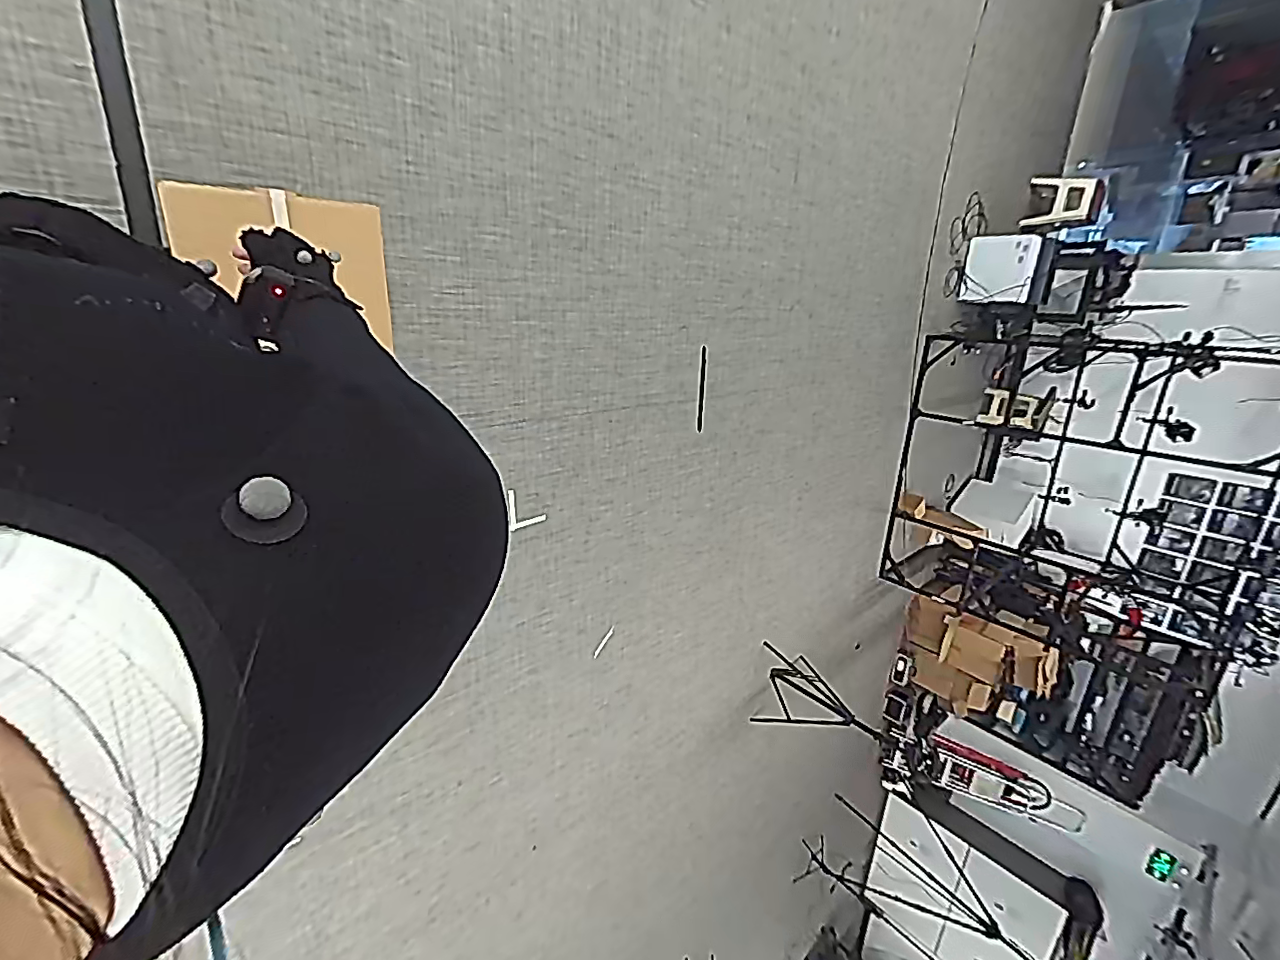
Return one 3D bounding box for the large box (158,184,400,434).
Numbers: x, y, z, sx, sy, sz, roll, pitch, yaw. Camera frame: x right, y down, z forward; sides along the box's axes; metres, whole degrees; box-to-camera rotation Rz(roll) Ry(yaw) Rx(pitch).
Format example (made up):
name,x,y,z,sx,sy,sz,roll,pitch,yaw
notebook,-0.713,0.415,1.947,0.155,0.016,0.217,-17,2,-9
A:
name,x,y,z,sx,sy,sz,roll,pitch,yaw
large box,-0.701,-0.336,1.080,0.320,0.320,0.408,-11,114,-34
